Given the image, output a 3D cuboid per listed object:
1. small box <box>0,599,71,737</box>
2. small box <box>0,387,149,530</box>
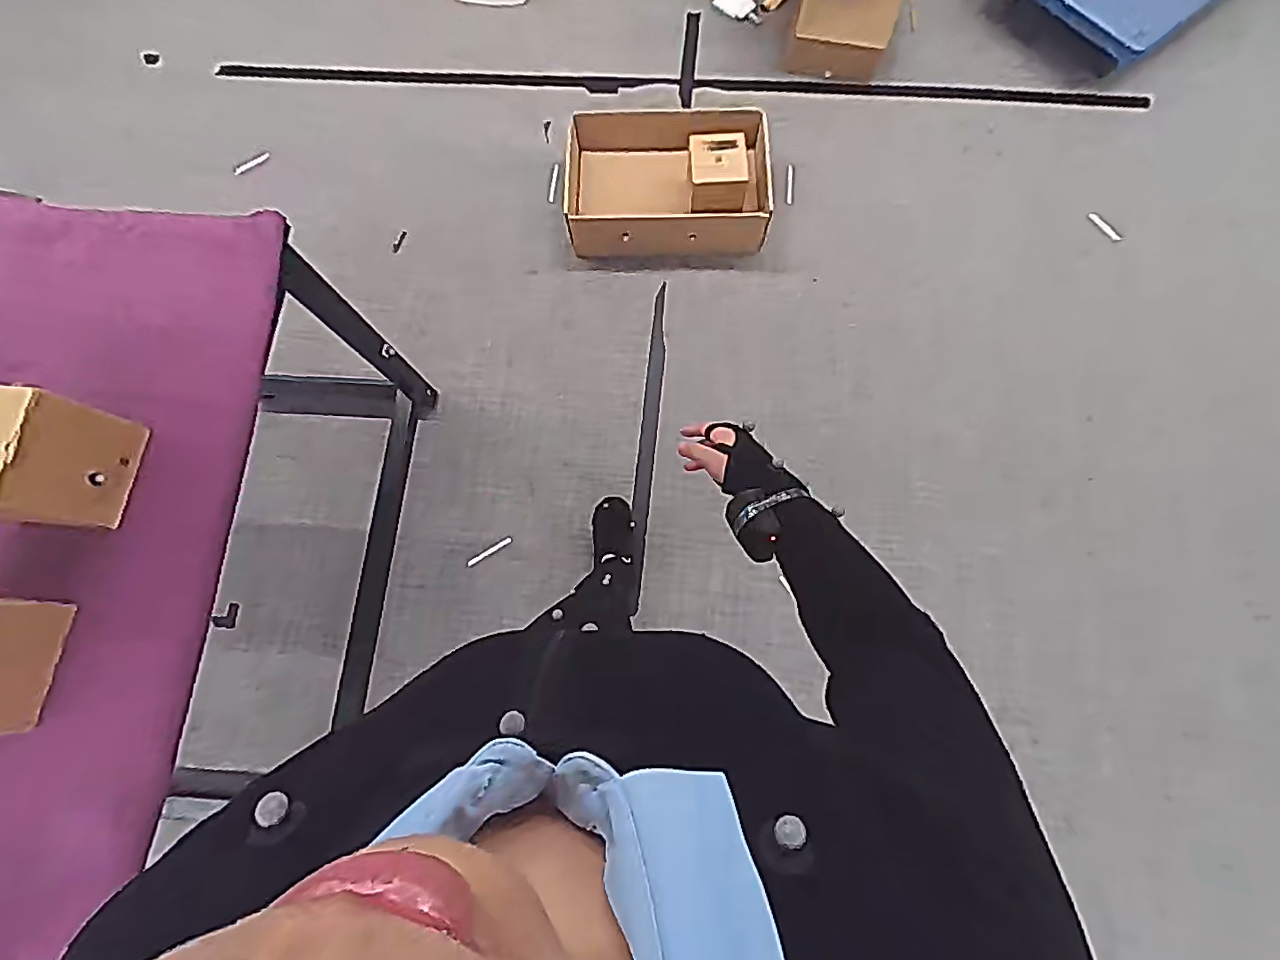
[{"bbox_3d":[-0.923,0.243,0.707,0.168,0.176,0.179,5,76,4],"label":"small box"},{"bbox_3d":[-0.883,-0.027,0.777,0.179,0.176,0.168,5,76,4],"label":"small box"}]
